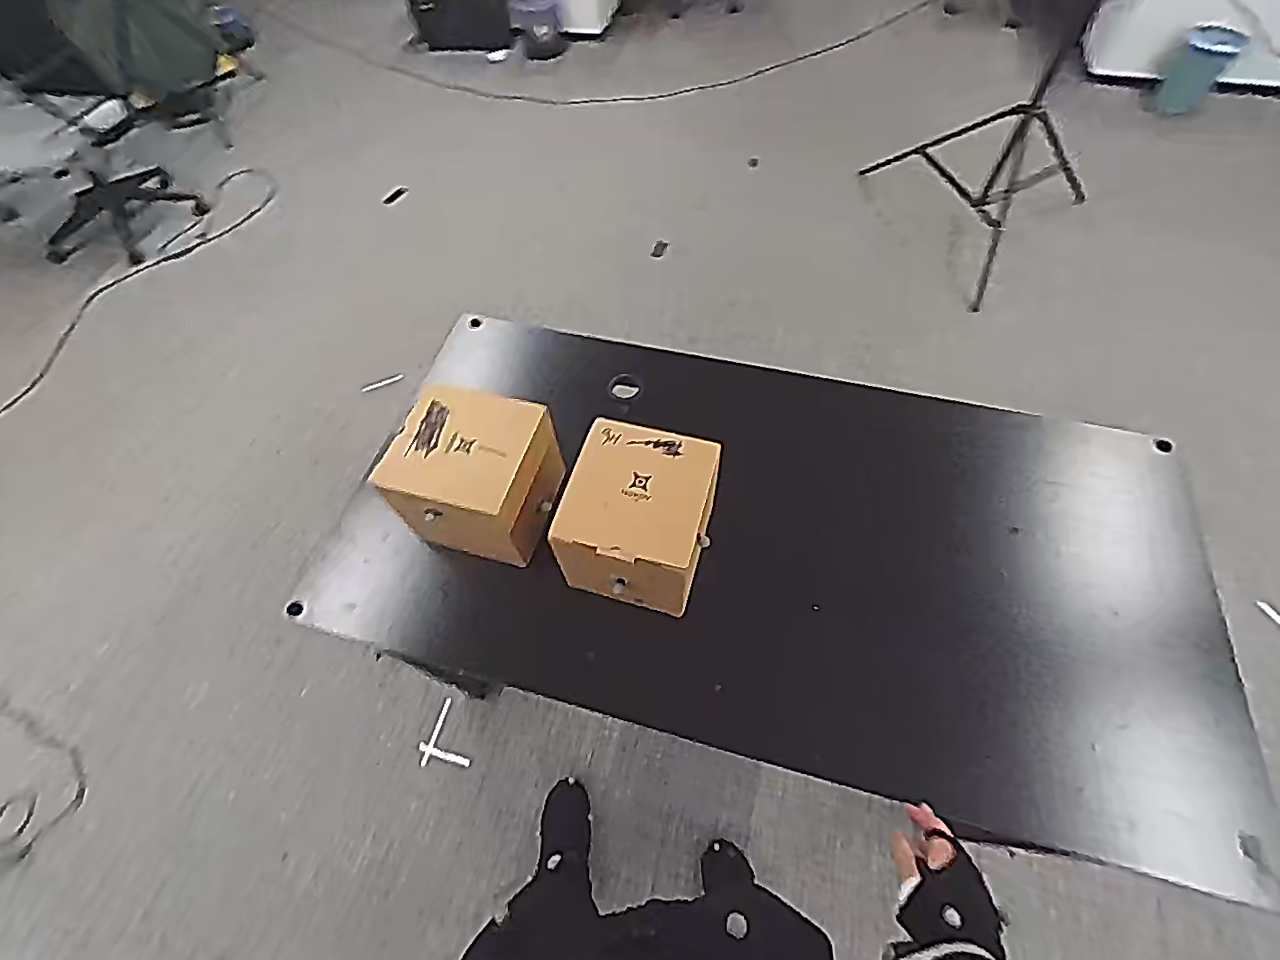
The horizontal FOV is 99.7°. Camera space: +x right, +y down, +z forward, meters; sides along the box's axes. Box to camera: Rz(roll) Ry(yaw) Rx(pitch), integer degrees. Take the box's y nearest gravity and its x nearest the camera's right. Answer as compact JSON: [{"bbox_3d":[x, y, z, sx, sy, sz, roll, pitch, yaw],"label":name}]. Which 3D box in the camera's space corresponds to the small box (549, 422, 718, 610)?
[{"bbox_3d":[0.000,0.054,0.713,0.168,0.176,0.179,13,62,10],"label":"small box"}]

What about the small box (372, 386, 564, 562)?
[{"bbox_3d":[-0.222,-0.002,0.753,0.179,0.176,0.168,13,62,9],"label":"small box"}]
